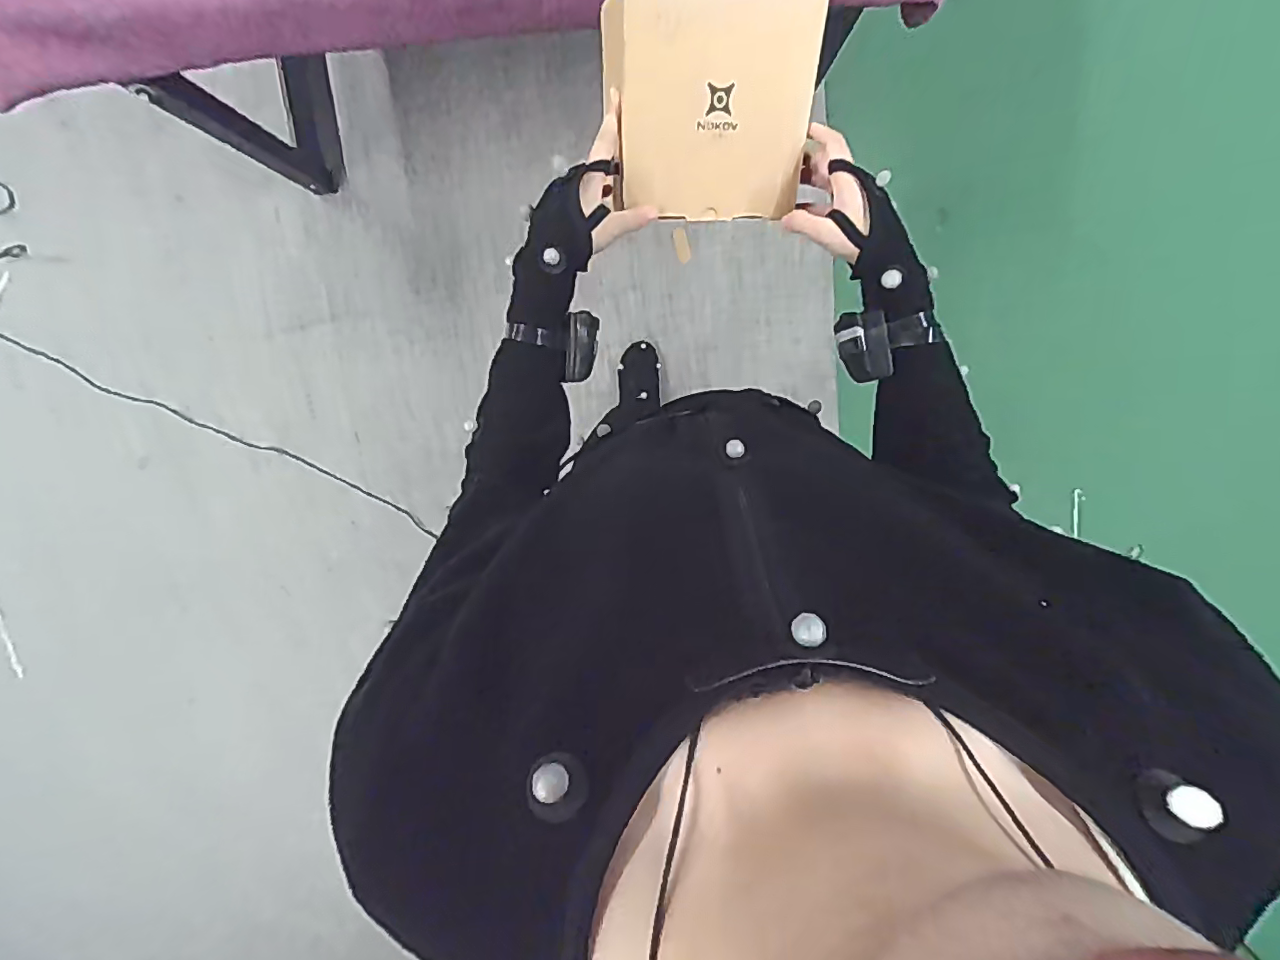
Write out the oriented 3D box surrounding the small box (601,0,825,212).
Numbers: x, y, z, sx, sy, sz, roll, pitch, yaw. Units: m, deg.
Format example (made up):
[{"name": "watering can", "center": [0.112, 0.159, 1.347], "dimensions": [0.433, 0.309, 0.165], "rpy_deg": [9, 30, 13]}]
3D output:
[{"name": "small box", "center": [0.051, -0.362, 0.512], "dimensions": [0.168, 0.176, 0.179], "rpy_deg": [-3, 125, -7]}]
